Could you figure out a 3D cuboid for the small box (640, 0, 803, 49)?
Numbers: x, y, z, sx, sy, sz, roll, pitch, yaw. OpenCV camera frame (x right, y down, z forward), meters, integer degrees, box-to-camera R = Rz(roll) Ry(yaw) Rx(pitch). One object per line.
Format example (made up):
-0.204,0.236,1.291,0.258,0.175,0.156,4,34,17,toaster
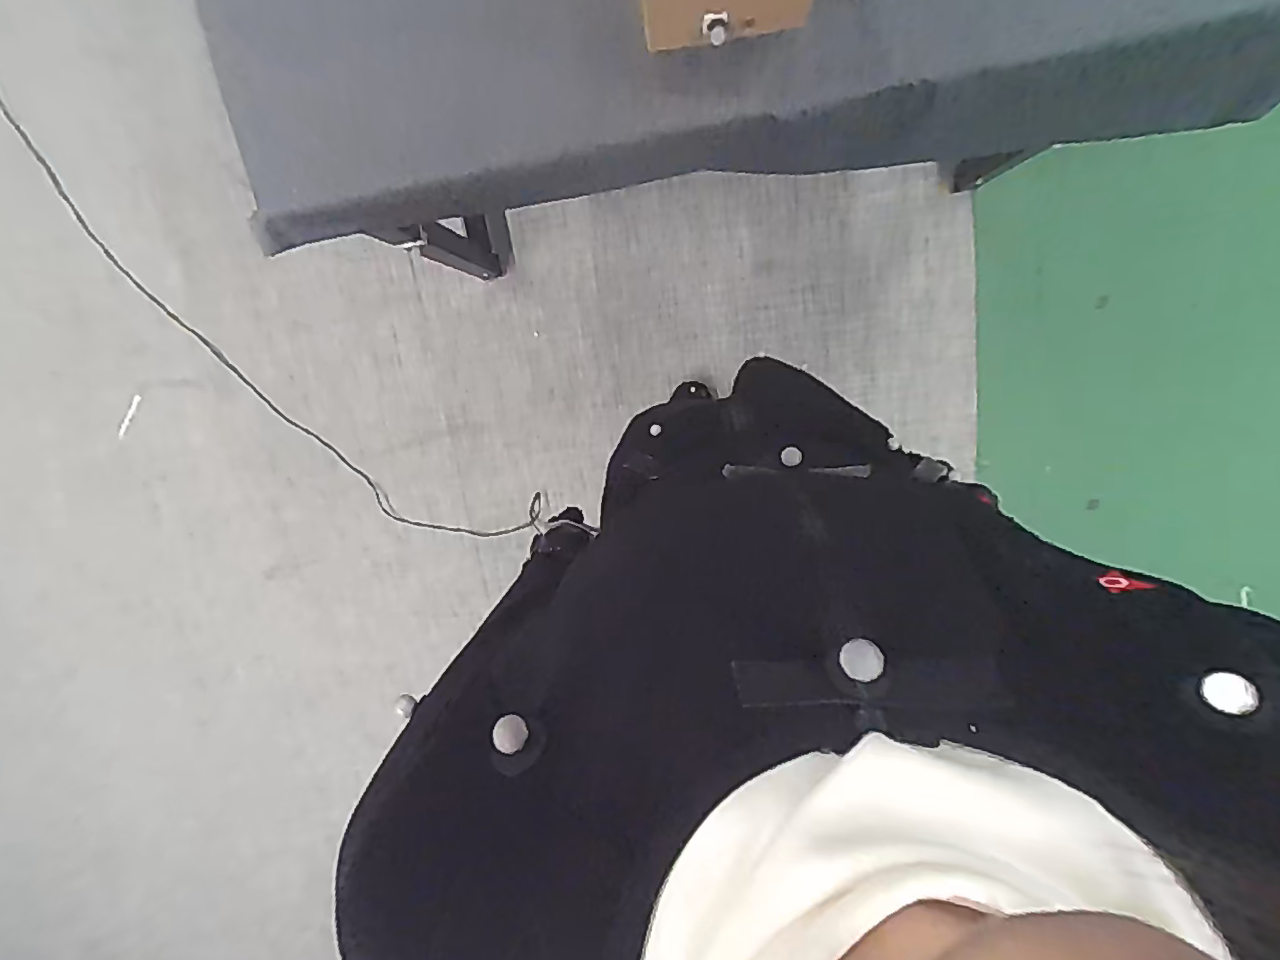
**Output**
0.071,-0.543,0.487,0.168,0.176,0.179,-7,103,6,small box
